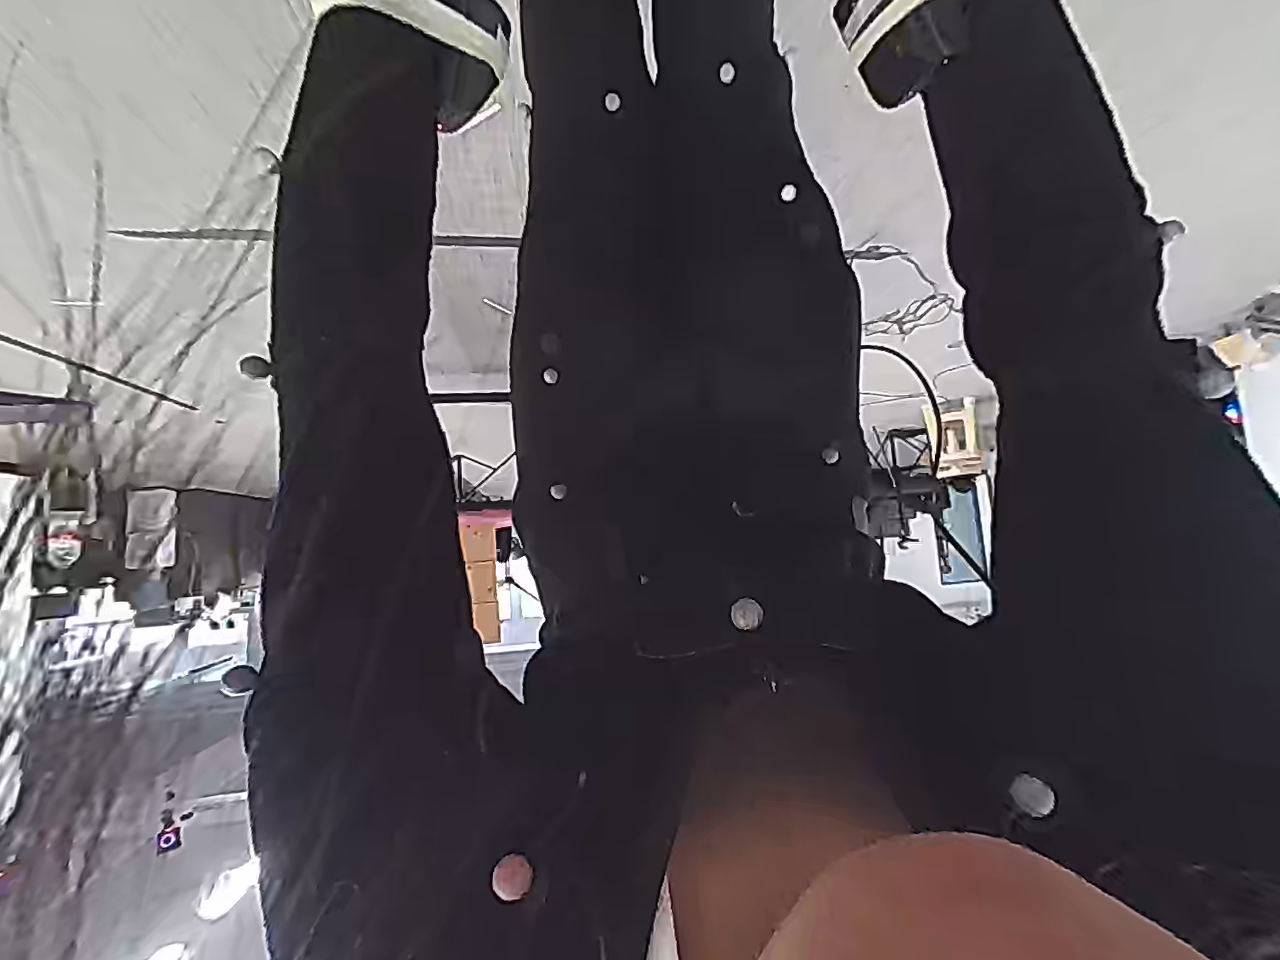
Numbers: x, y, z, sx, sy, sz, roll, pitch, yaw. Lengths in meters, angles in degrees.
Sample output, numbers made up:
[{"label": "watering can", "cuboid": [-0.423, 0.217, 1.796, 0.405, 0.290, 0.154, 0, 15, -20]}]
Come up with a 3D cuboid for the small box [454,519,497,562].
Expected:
[{"label": "small box", "cuboid": [-0.694, 0.254, 2.288, 0.168, 0.176, 0.179, -3, 174, -15]}]

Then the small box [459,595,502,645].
[{"label": "small box", "cuboid": [-0.666, 0.577, 2.250, 0.168, 0.176, 0.179, -1, 175, -17]}]
